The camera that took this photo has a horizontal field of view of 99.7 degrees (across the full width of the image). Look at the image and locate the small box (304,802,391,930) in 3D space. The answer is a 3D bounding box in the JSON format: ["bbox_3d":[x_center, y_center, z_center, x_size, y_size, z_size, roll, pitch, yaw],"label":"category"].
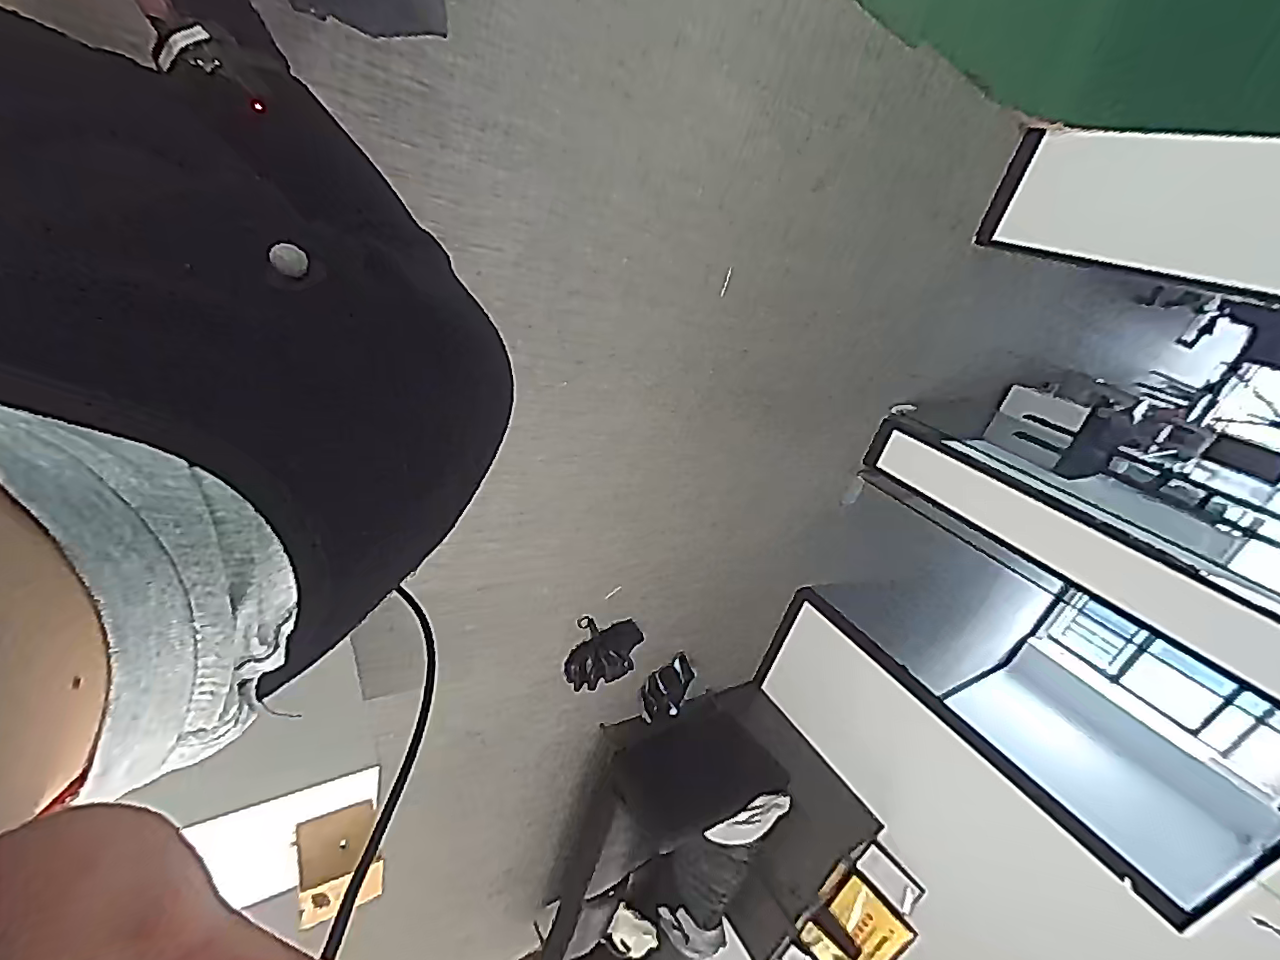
[{"bbox_3d":[-0.738,0.958,1.356,0.179,0.176,0.168,-4,123,-35],"label":"small box"}]
